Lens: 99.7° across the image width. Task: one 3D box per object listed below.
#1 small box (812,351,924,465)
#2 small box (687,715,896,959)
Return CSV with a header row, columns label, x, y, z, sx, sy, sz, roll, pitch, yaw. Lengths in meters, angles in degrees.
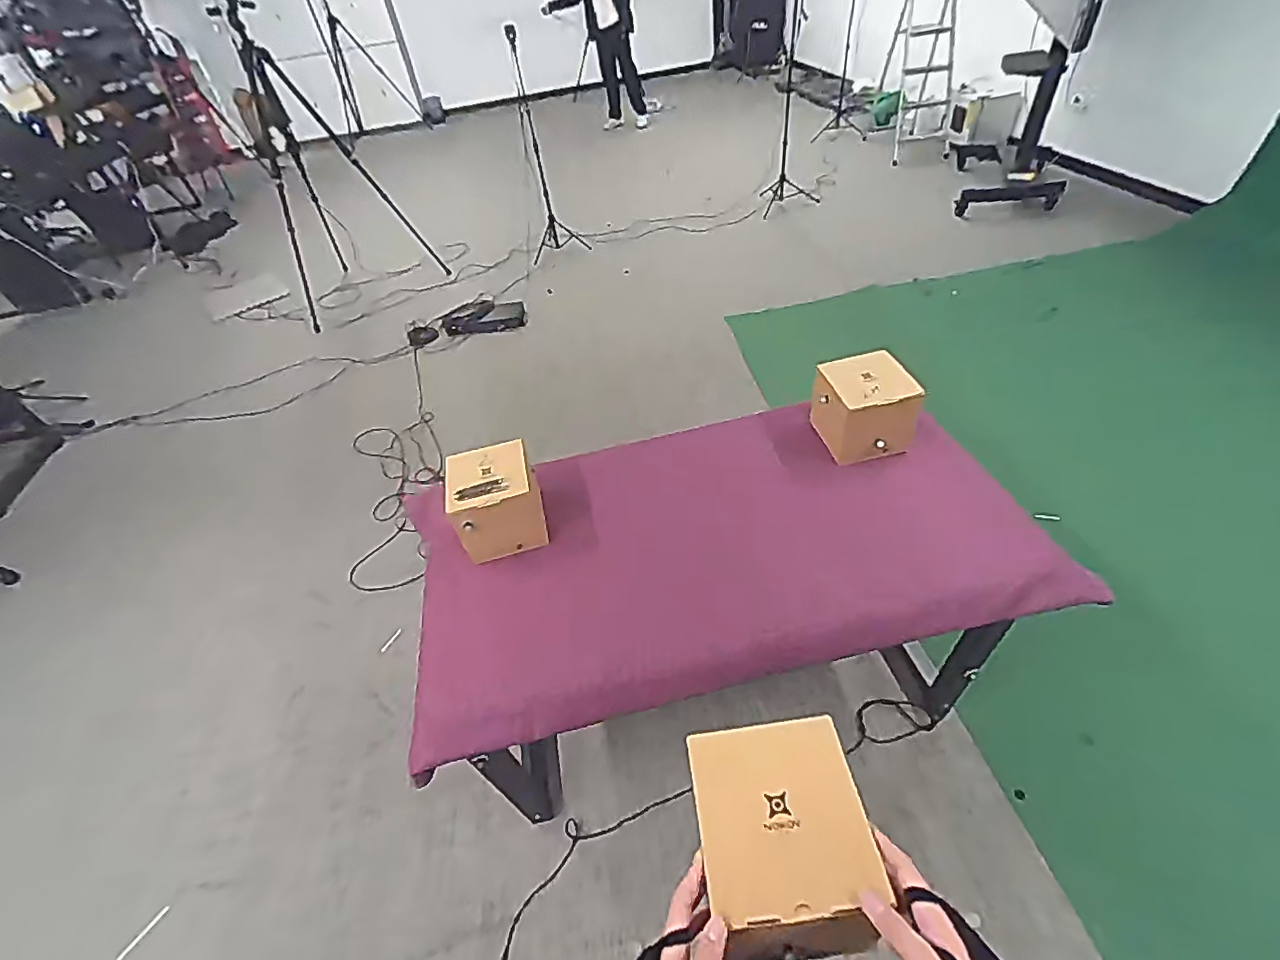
label,x,y,z,sx,sy,sz,roll,pitch,yaw
small box,0.503,-0.162,1.227,0.168,0.176,0.179,-13,46,-1
small box,0.149,0.389,0.591,0.168,0.176,0.179,-10,41,2
